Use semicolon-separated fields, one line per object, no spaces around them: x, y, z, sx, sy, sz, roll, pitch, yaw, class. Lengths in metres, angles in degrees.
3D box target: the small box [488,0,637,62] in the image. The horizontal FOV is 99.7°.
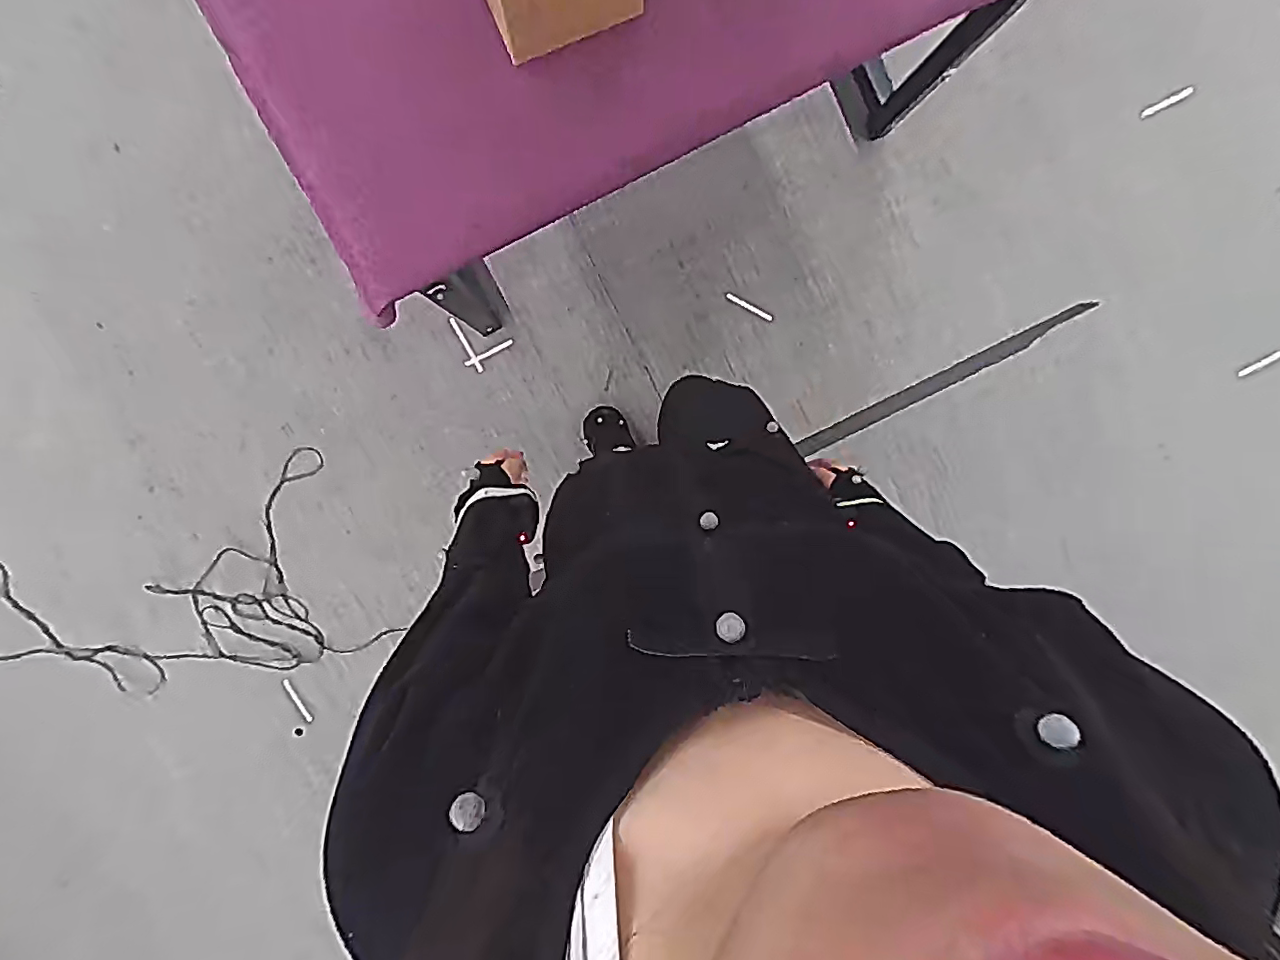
-0.097;-0.605;0.577;0.179;0.176;0.168;-24;98;-1;small box
